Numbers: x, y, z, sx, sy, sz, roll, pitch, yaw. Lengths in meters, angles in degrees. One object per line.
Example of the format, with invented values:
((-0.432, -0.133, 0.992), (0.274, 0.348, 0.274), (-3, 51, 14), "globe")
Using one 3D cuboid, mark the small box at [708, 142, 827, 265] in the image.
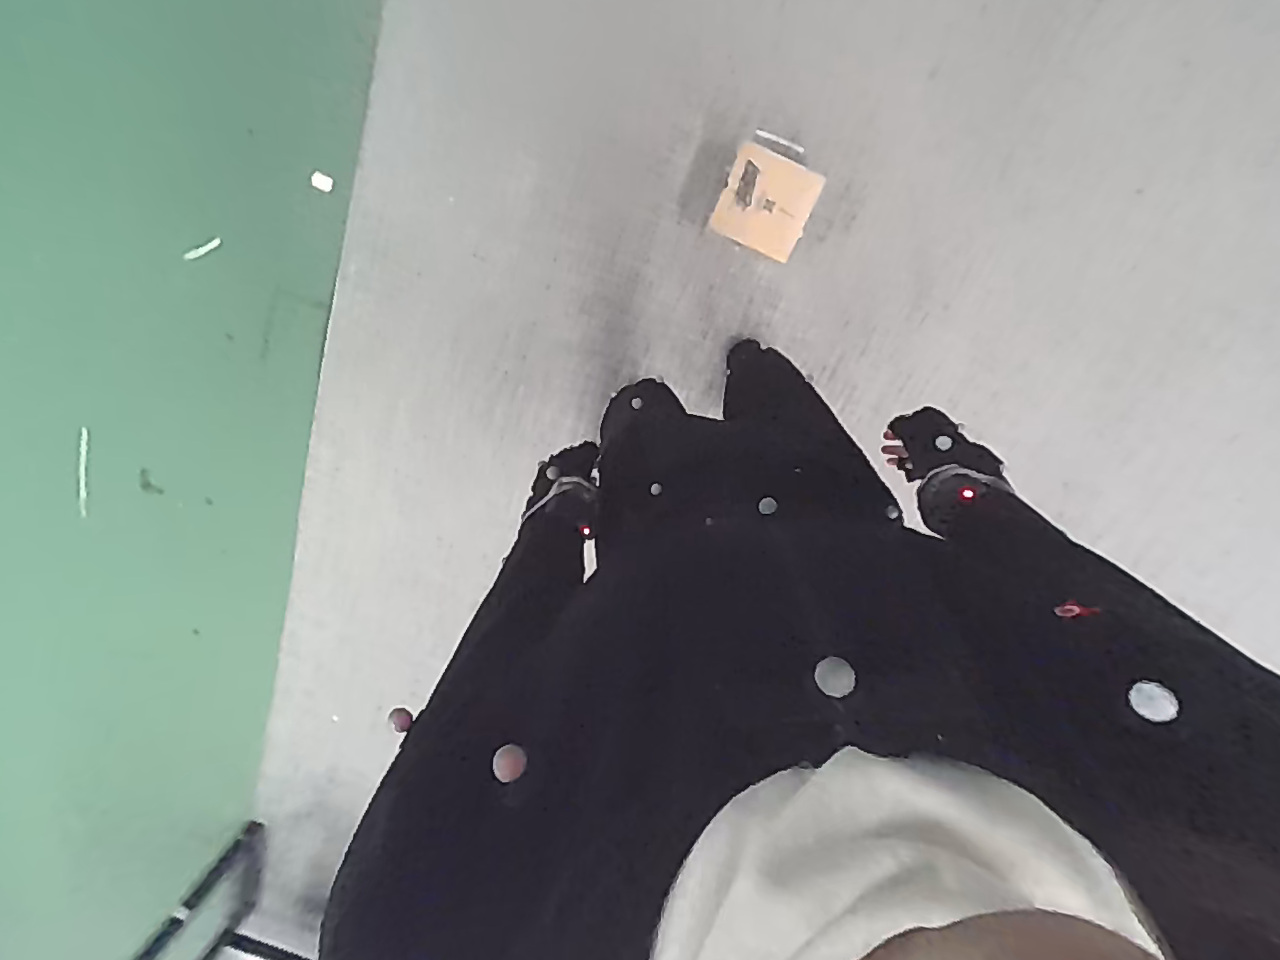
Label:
((0.253, -0.557, 1.119), (0.179, 0.176, 0.168), (24, 111, -2), "small box")
